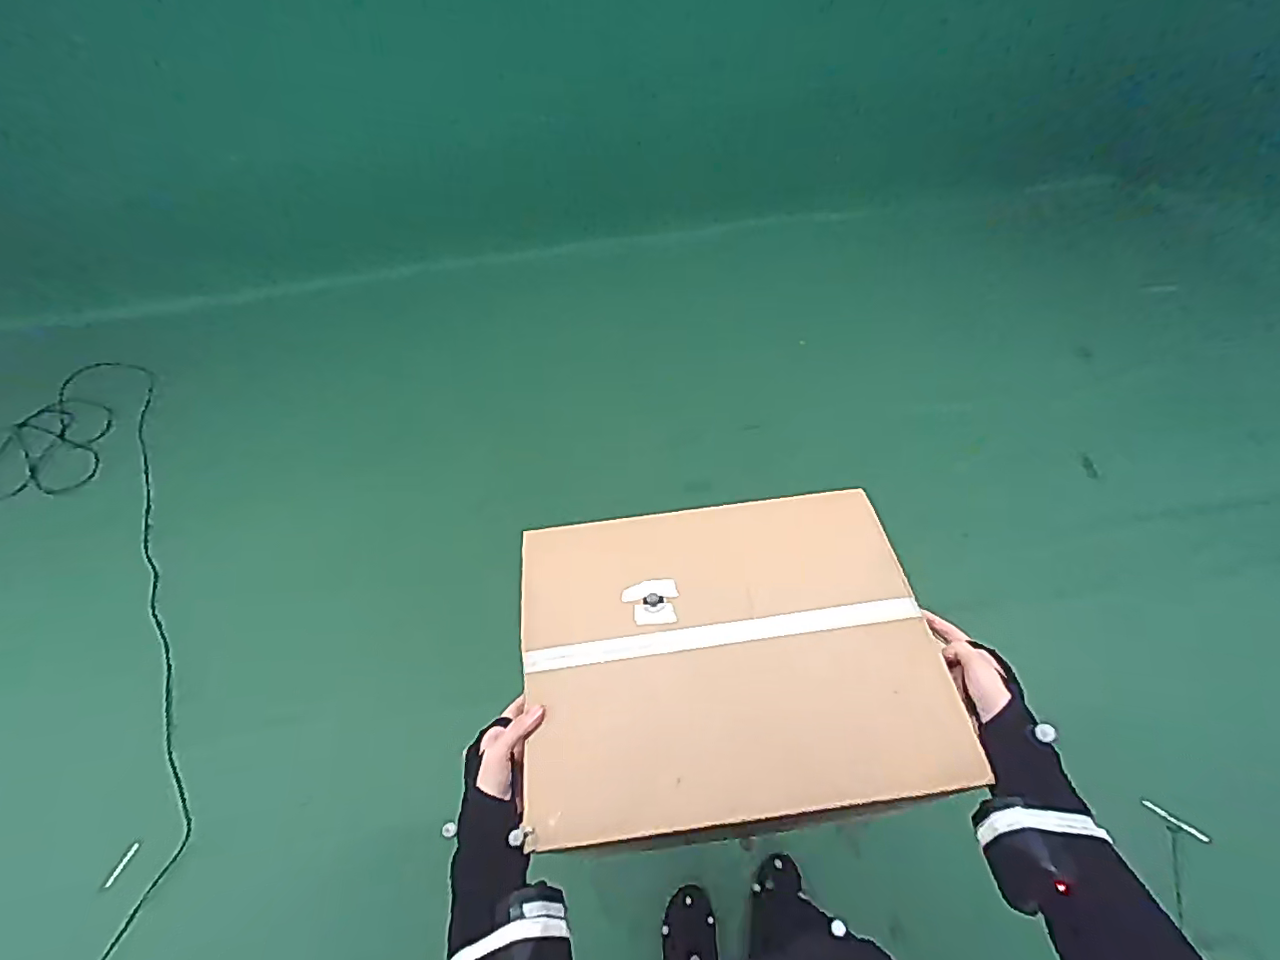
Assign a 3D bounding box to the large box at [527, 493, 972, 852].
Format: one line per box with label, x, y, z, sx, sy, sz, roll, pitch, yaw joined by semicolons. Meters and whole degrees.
large box;0.092;0.251;0.679;0.408;0.320;0.320;-8;53;-1
